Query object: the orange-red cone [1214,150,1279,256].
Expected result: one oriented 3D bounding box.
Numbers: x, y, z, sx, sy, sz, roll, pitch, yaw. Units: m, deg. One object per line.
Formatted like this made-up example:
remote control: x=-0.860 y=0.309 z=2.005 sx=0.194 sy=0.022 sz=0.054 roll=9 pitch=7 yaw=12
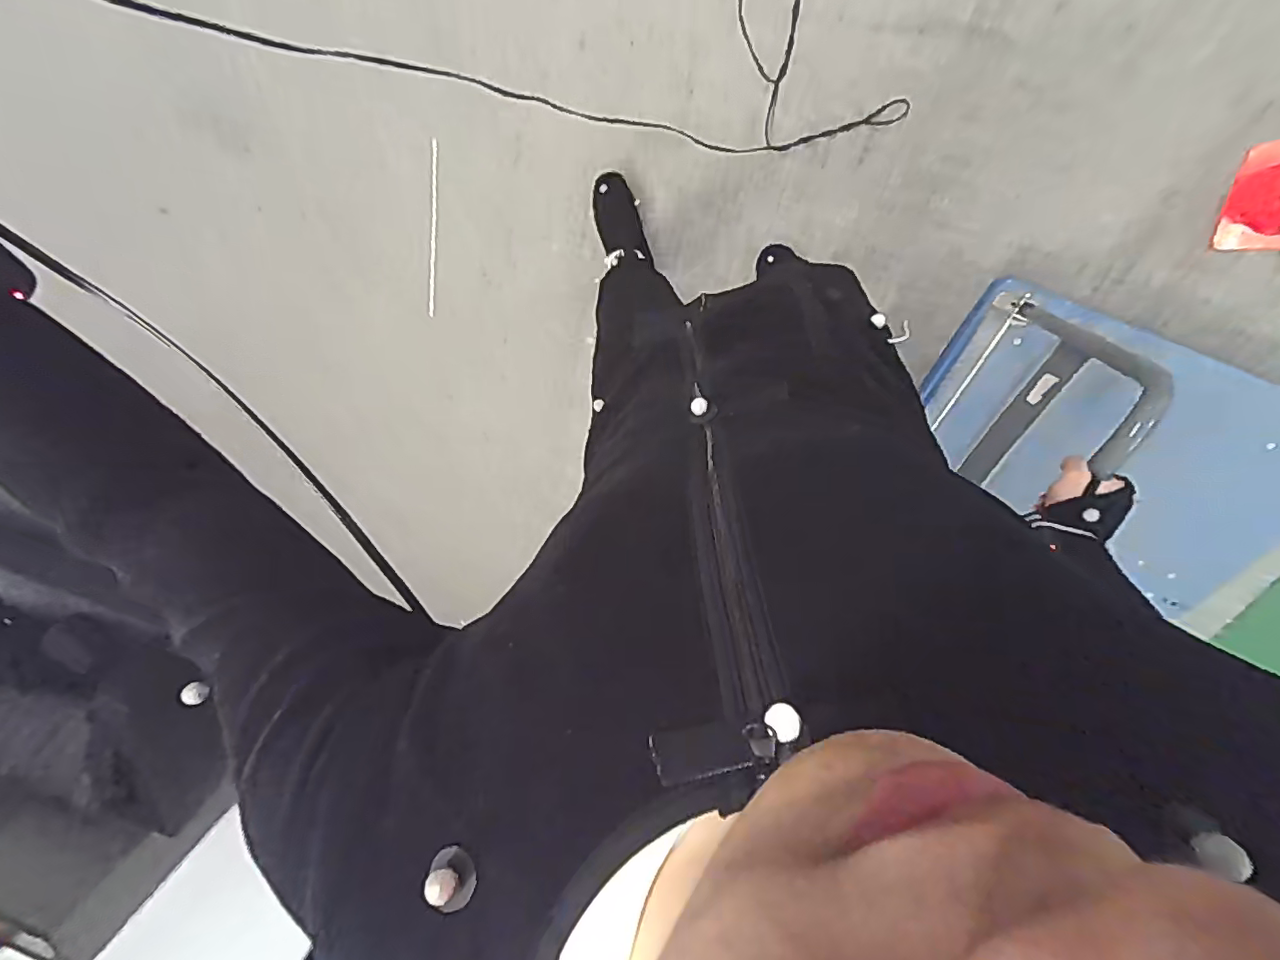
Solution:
orange-red cone: x=1.290 y=-0.491 z=0.960 sx=0.198 sy=0.360 sz=0.199 roll=5 pitch=116 yaw=12
